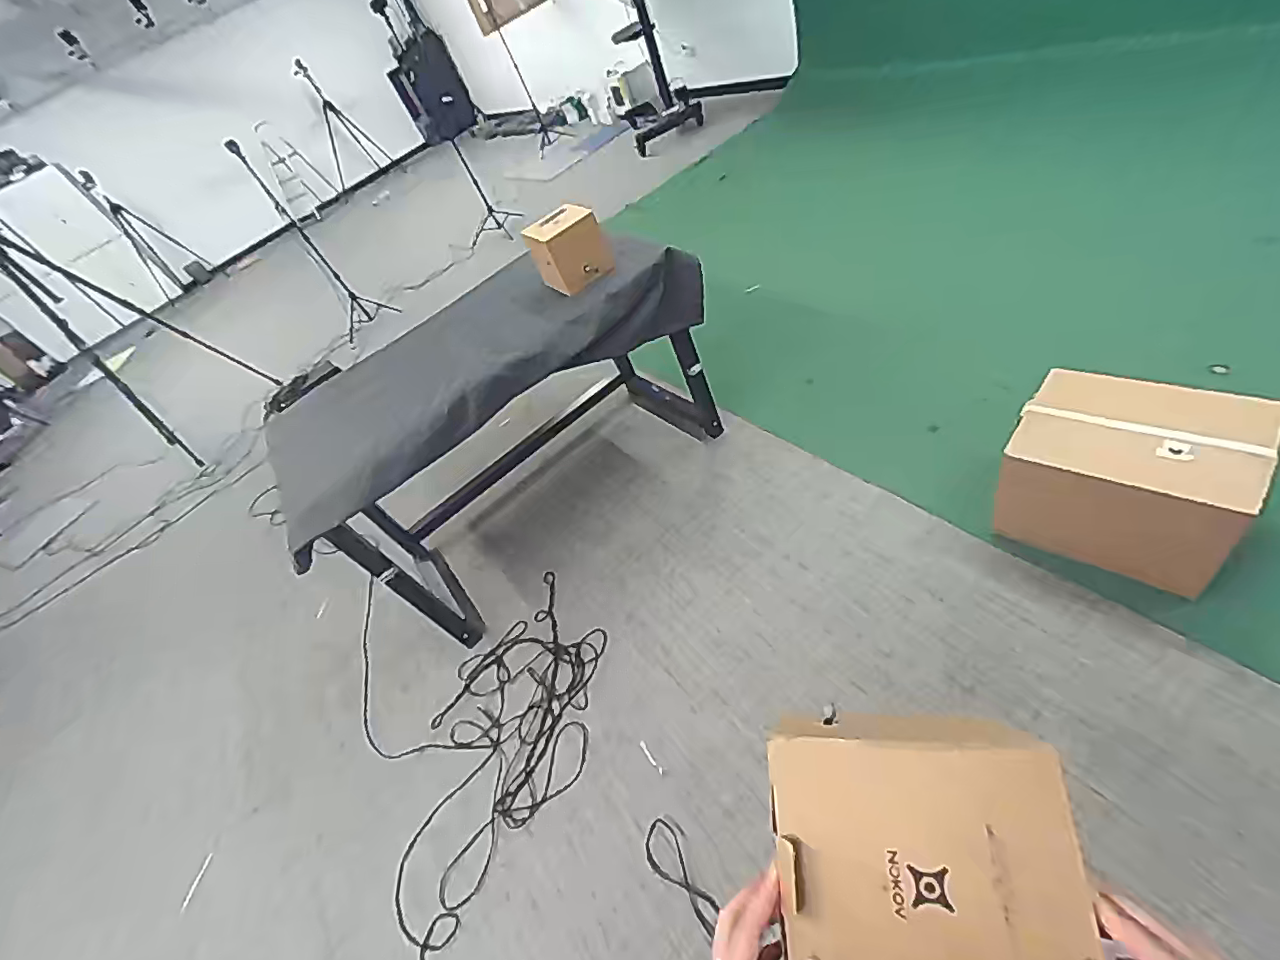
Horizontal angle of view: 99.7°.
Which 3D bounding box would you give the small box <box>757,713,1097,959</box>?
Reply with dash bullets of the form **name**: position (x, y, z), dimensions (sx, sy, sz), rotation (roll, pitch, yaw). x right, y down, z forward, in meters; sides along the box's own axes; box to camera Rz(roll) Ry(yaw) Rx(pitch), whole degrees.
- **small box**: position (0.188, 0.269, 0.396), dimensions (0.179, 0.176, 0.168), rotation (-7, 71, 15)
